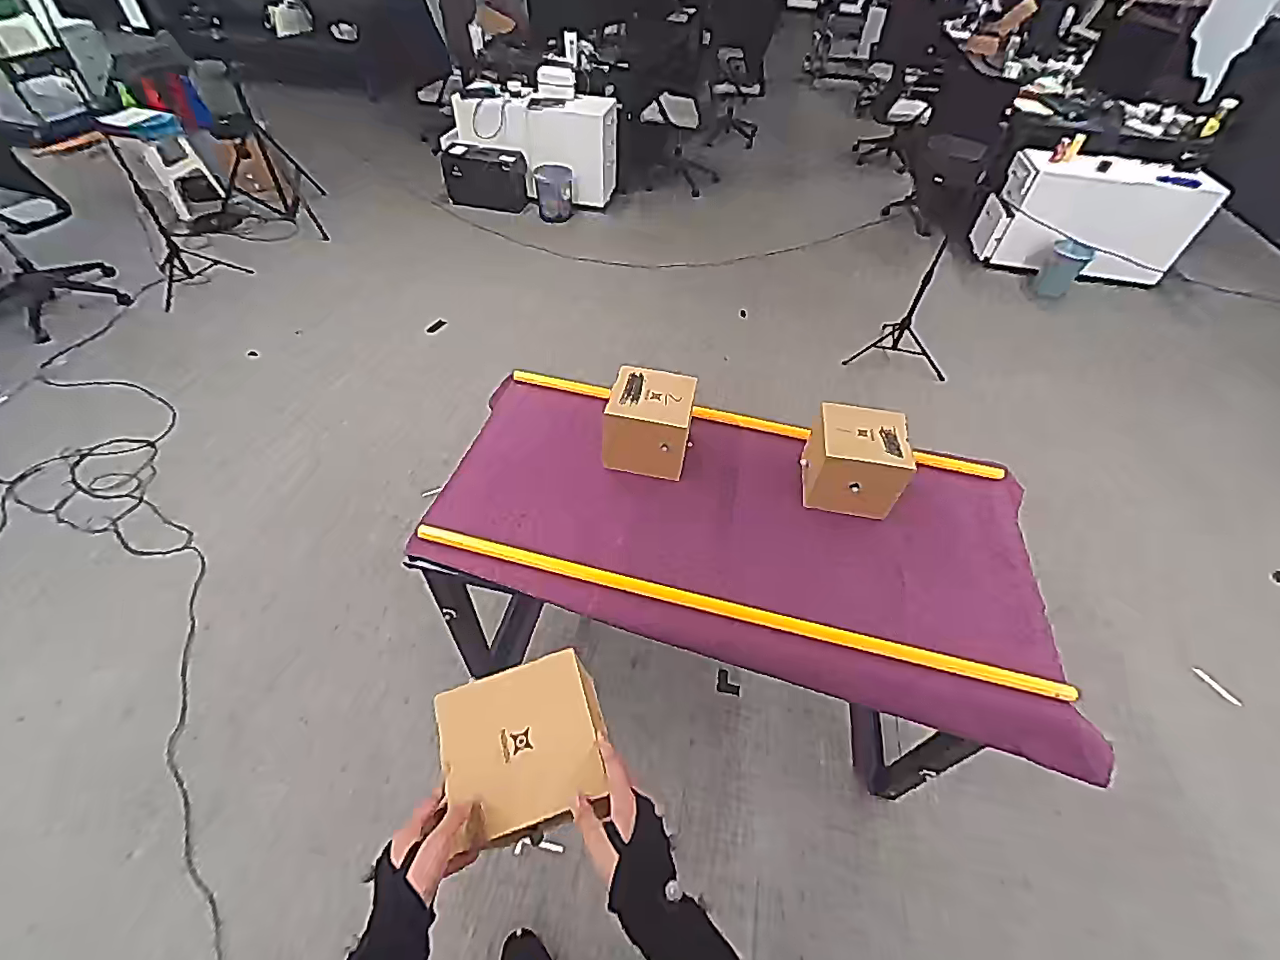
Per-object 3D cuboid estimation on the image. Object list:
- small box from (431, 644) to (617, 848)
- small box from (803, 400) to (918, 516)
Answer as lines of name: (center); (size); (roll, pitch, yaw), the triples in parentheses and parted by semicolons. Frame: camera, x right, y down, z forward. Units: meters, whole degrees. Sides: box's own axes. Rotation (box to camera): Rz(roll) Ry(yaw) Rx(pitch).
small box: (-0.133, 0.326, 0.669); (0.179, 0.176, 0.168); (-19, 59, -5)
small box: (0.456, -0.043, 1.146); (0.179, 0.176, 0.168); (8, 50, 6)
